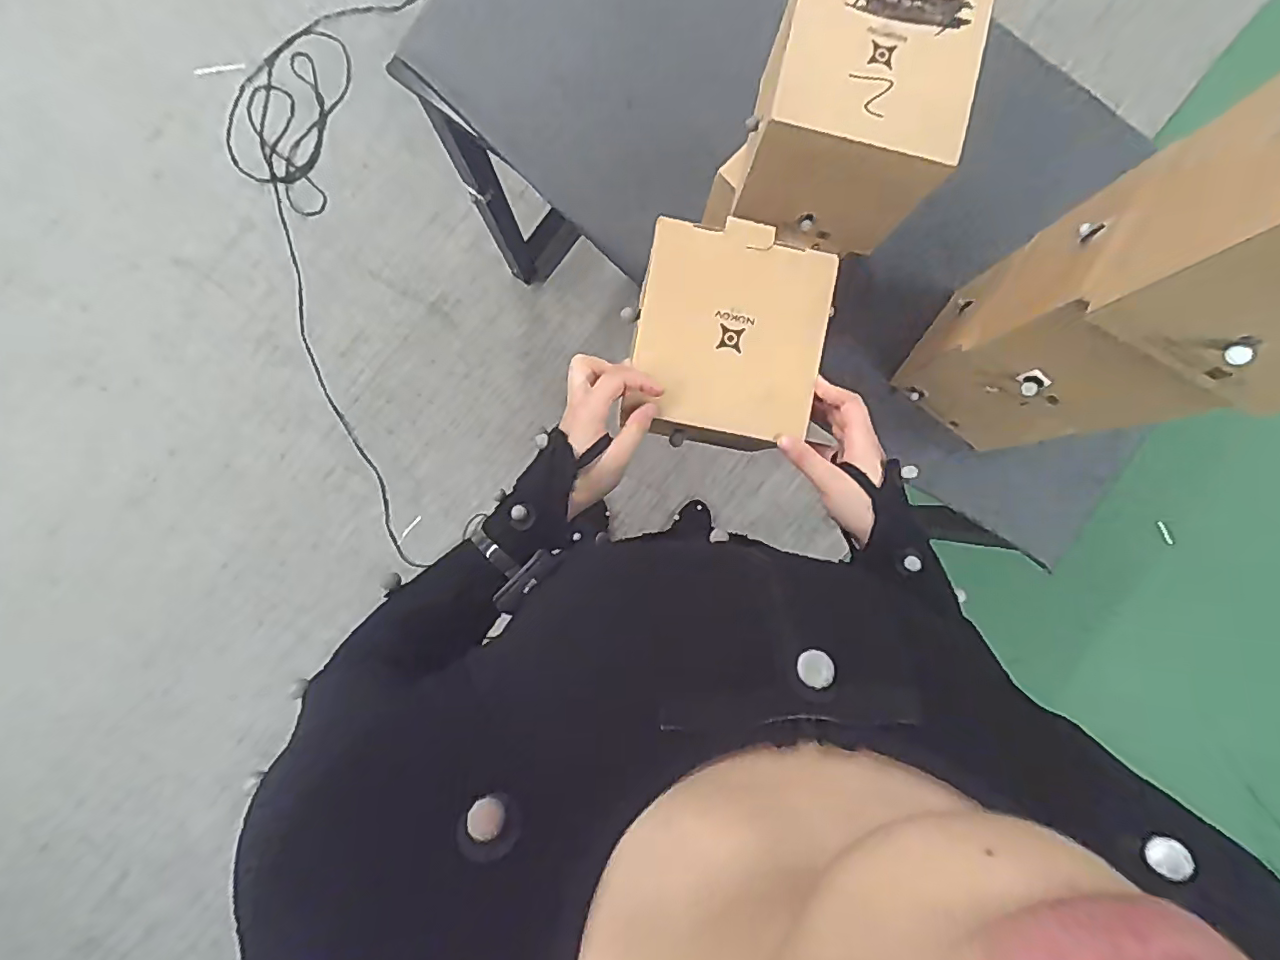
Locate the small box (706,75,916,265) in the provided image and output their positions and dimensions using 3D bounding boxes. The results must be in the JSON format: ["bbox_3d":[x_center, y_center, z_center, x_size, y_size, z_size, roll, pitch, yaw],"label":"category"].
[{"bbox_3d":[0.201,-0.350,0.700,0.179,0.176,0.168,-44,89,-4],"label":"small box"}]

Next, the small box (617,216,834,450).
[{"bbox_3d":[0.073,-0.130,0.551,0.168,0.176,0.179,10,89,-3],"label":"small box"}]

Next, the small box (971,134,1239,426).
[{"bbox_3d":[0.477,-0.176,0.533,0.168,0.176,0.179,33,87,2],"label":"small box"}]

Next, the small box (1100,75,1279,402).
[{"bbox_3d":[0.478,-0.179,0.368,0.168,0.176,0.179,30,85,2],"label":"small box"}]
